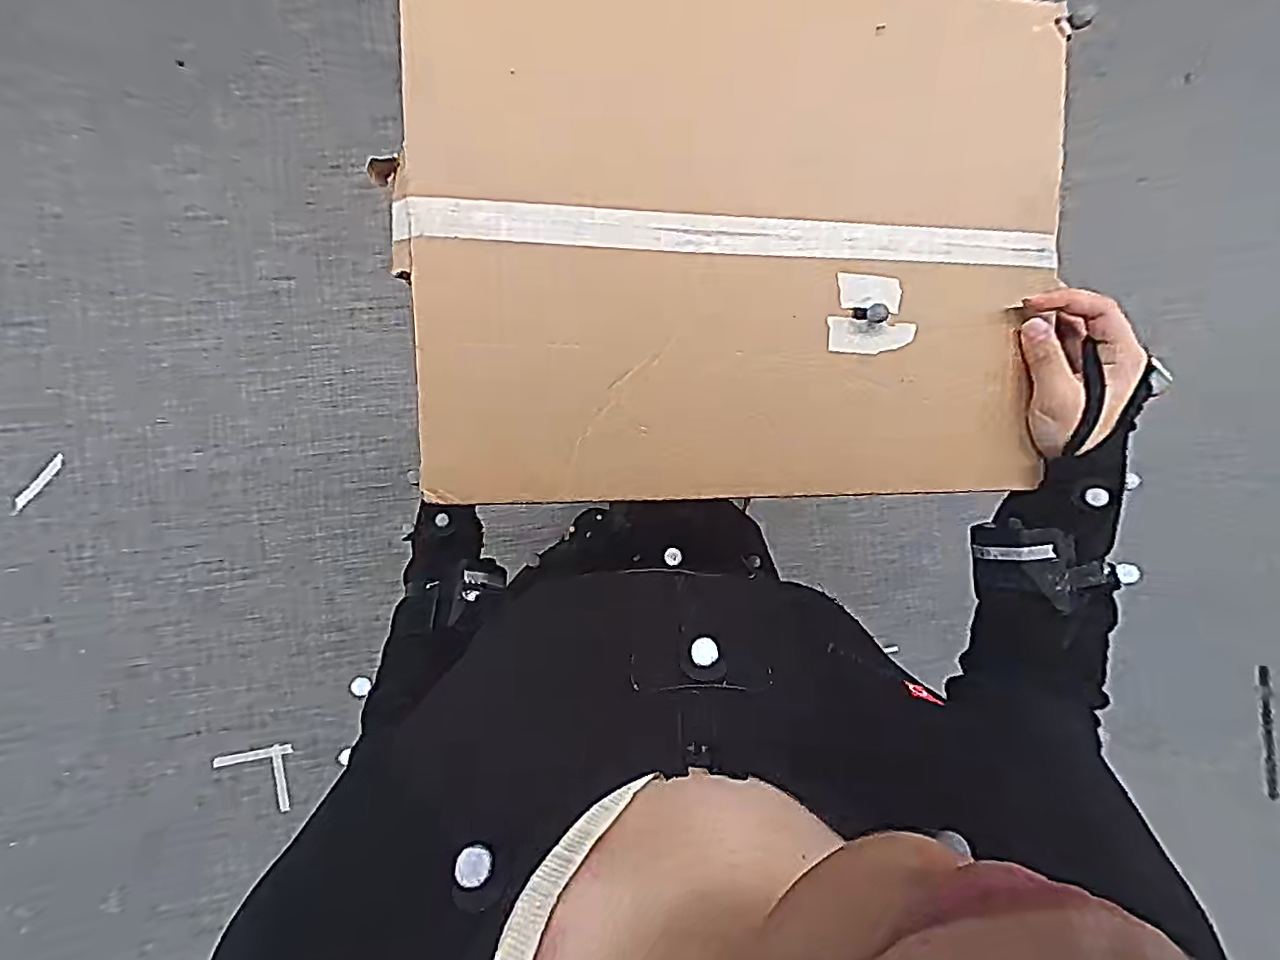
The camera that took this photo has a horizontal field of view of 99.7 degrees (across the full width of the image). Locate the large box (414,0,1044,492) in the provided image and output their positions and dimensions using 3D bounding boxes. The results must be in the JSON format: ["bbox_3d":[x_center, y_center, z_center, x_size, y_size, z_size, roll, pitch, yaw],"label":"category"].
[{"bbox_3d":[0.046,-0.165,0.480,0.408,0.320,0.320,-1,96,-11],"label":"large box"}]
